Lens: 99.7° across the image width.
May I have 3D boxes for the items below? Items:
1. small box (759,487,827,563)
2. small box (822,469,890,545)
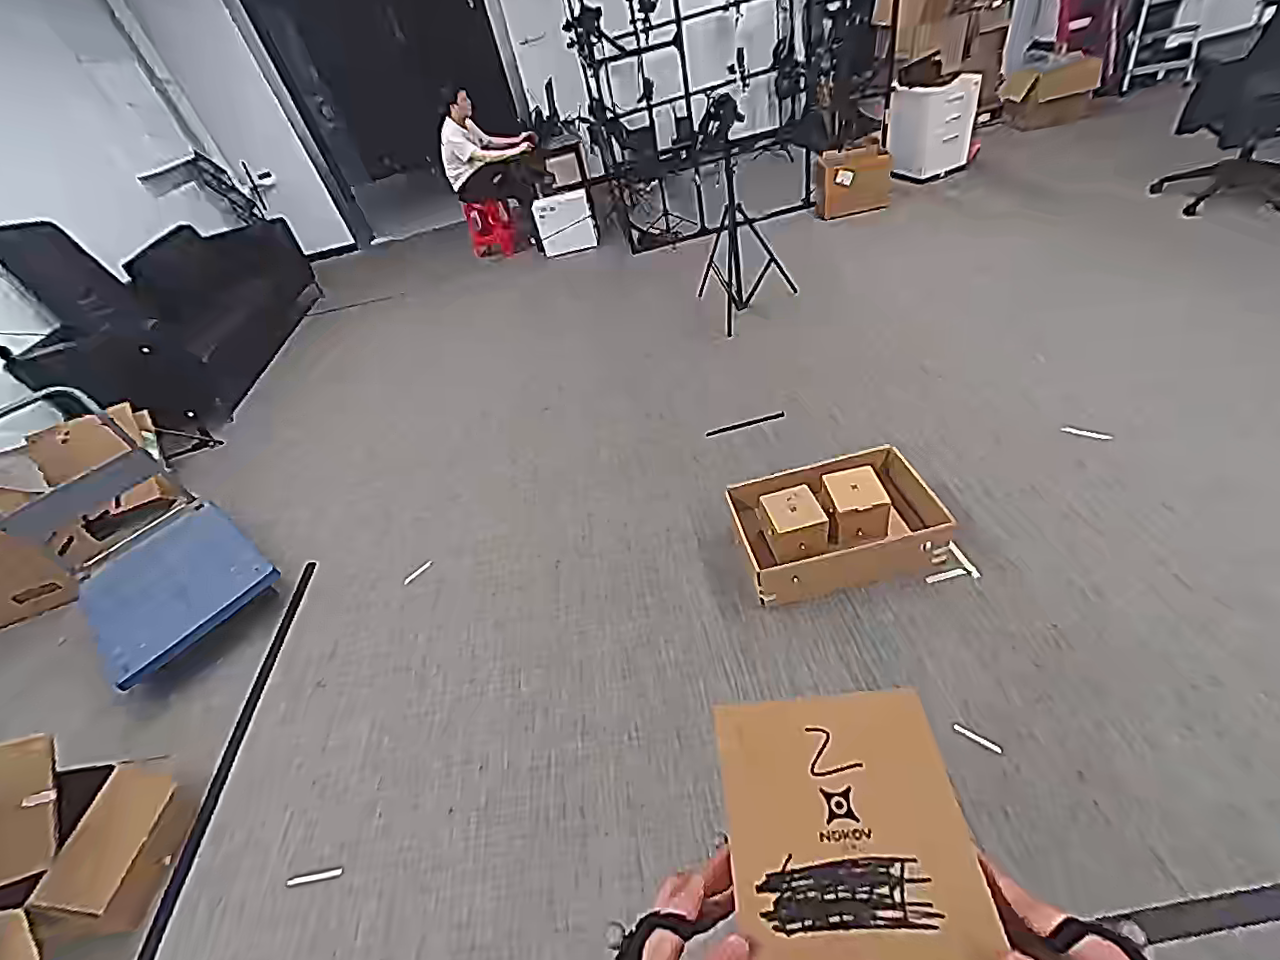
[{"bbox_3d":[0.506,0.156,1.795,0.168,0.176,0.179,-14,41,-1],"label":"small box"},{"bbox_3d":[0.714,0.091,1.807,0.168,0.176,0.179,-12,42,5],"label":"small box"}]
